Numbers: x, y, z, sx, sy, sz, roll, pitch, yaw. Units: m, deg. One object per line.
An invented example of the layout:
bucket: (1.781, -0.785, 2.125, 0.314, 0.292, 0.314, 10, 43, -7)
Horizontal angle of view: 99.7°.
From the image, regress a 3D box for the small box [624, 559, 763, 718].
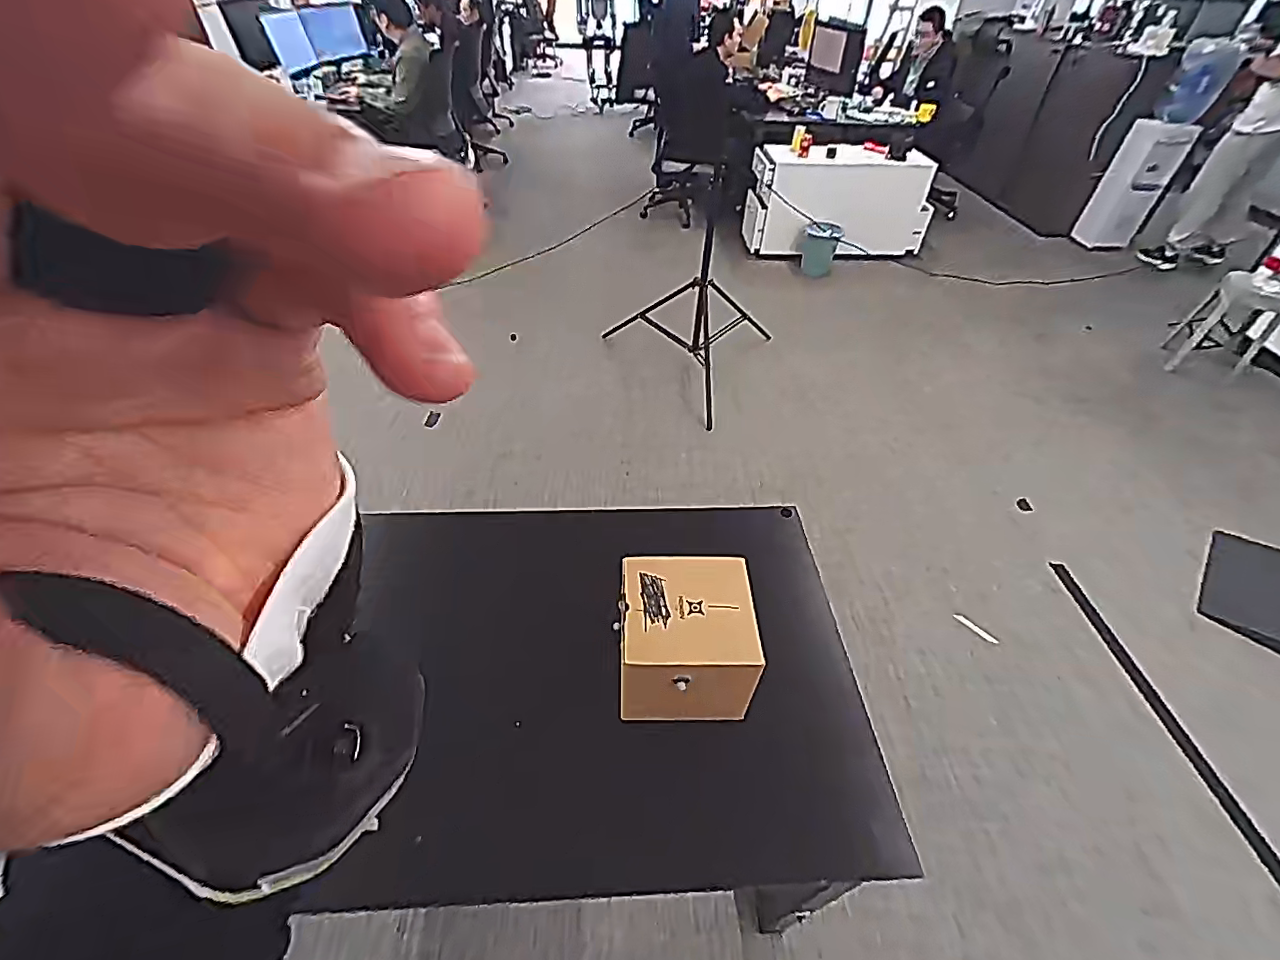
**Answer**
small box: (0.065, 0.230, 0.781, 0.179, 0.176, 0.168, 1, 44, -2)
